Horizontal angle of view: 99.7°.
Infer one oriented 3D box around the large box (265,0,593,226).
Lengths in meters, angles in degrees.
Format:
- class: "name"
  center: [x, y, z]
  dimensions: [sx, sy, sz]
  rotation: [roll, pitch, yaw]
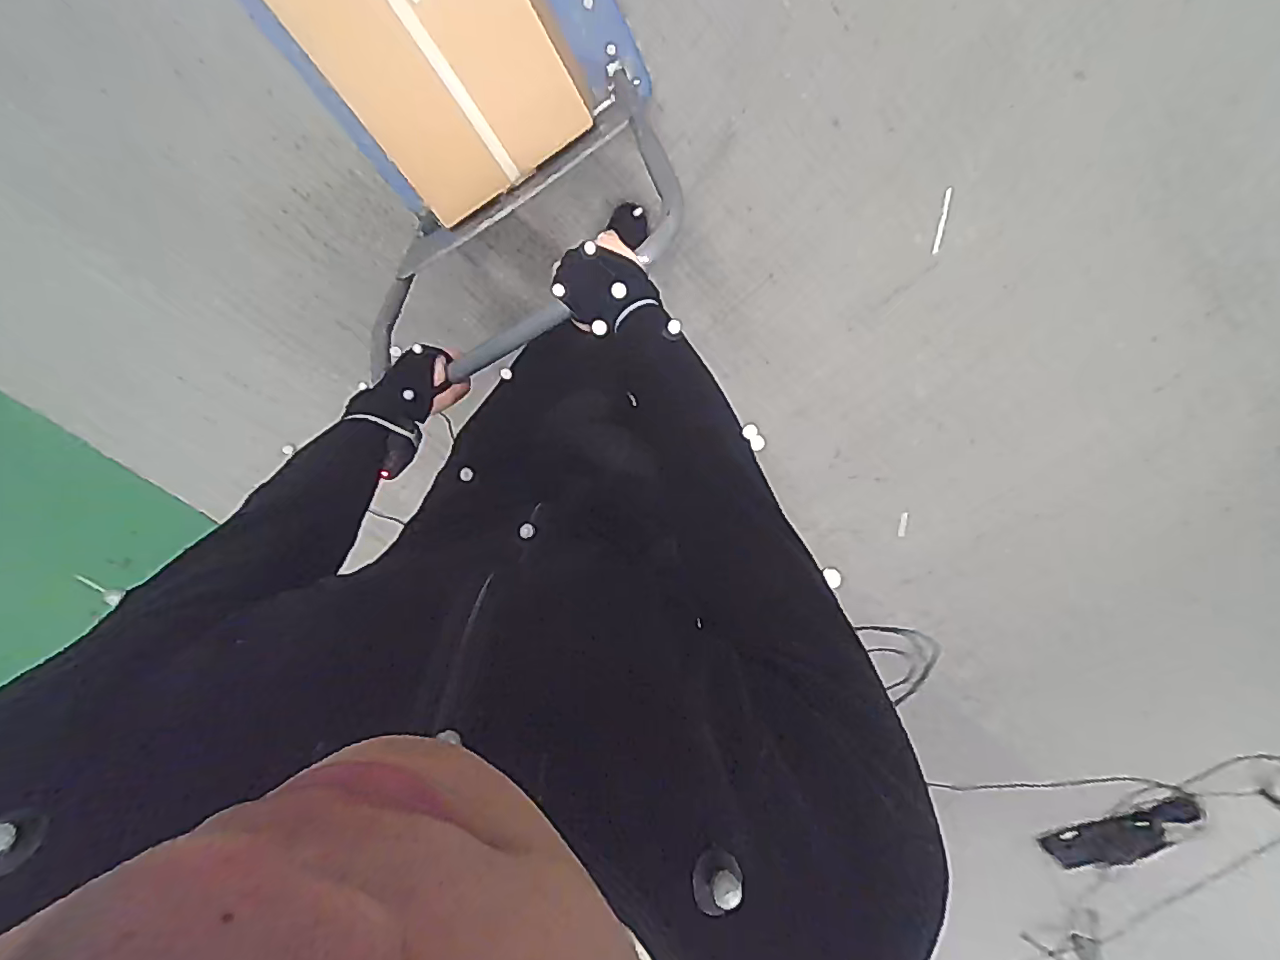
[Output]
- class: "large box"
  center: [-0.312, -0.725, 0.897]
  dimensions: [0.320, 0.320, 0.408]
  rotation: [-26, 129, 17]
